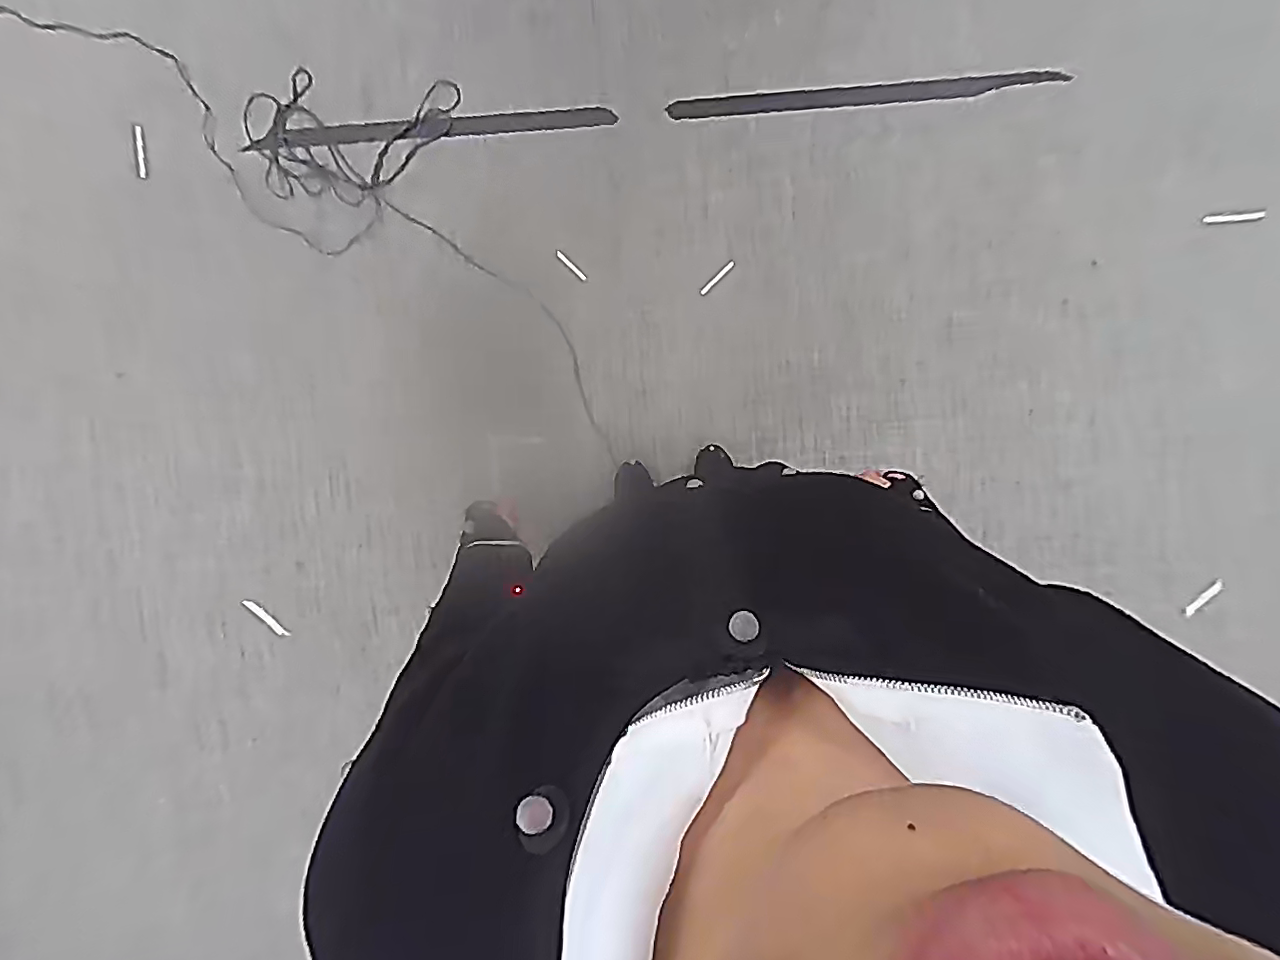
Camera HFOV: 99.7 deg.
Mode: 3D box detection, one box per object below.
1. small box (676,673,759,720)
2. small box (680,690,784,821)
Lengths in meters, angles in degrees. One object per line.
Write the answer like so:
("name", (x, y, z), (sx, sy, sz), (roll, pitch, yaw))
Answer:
("small box", (0.181, 0.540, 1.258), (0.179, 0.176, 0.168), (-8, 93, 1))
("small box", (0.177, 0.548, 1.095), (0.179, 0.176, 0.168), (-9, 94, 2))
